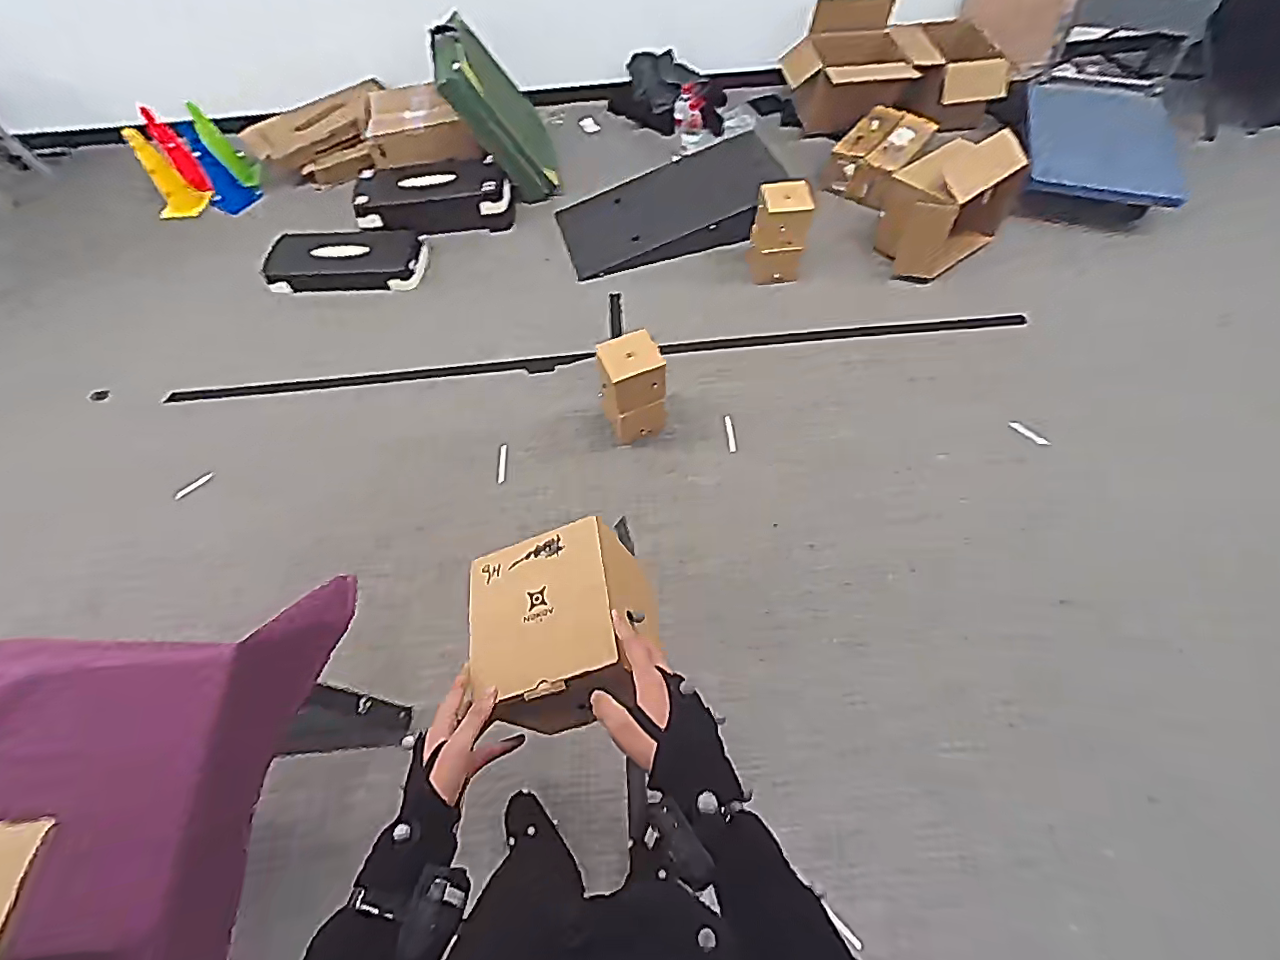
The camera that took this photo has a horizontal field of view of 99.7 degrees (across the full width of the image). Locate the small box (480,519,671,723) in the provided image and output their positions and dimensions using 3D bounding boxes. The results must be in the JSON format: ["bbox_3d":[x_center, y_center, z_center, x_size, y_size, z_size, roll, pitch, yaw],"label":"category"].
[{"bbox_3d":[-0.073,0.179,0.646,0.168,0.176,0.179,-20,54,10],"label":"small box"}]
